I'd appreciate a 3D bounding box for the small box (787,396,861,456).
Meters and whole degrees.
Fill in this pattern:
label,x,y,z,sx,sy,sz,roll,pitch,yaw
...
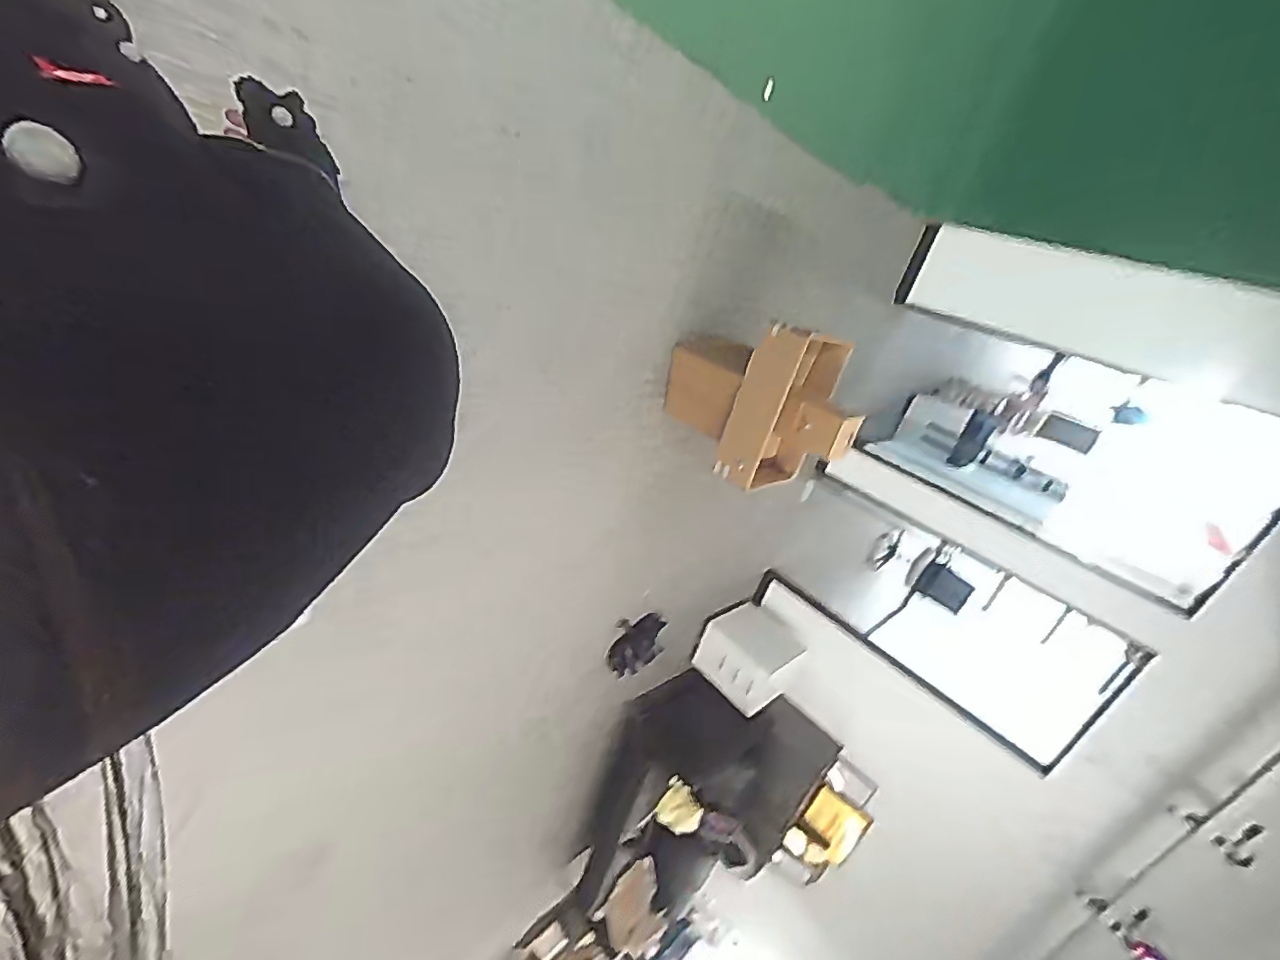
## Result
label,x,y,z,sx,sy,sz,roll,pitch,yaw
small box,0.681,-0.207,2.007,0.179,0.176,0.168,-13,126,-44

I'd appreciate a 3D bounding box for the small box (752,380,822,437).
label,x,y,z,sx,sy,sz,roll,pitch,yaw
small box,0.567,-0.283,2.097,0.179,0.176,0.168,-15,128,-43
